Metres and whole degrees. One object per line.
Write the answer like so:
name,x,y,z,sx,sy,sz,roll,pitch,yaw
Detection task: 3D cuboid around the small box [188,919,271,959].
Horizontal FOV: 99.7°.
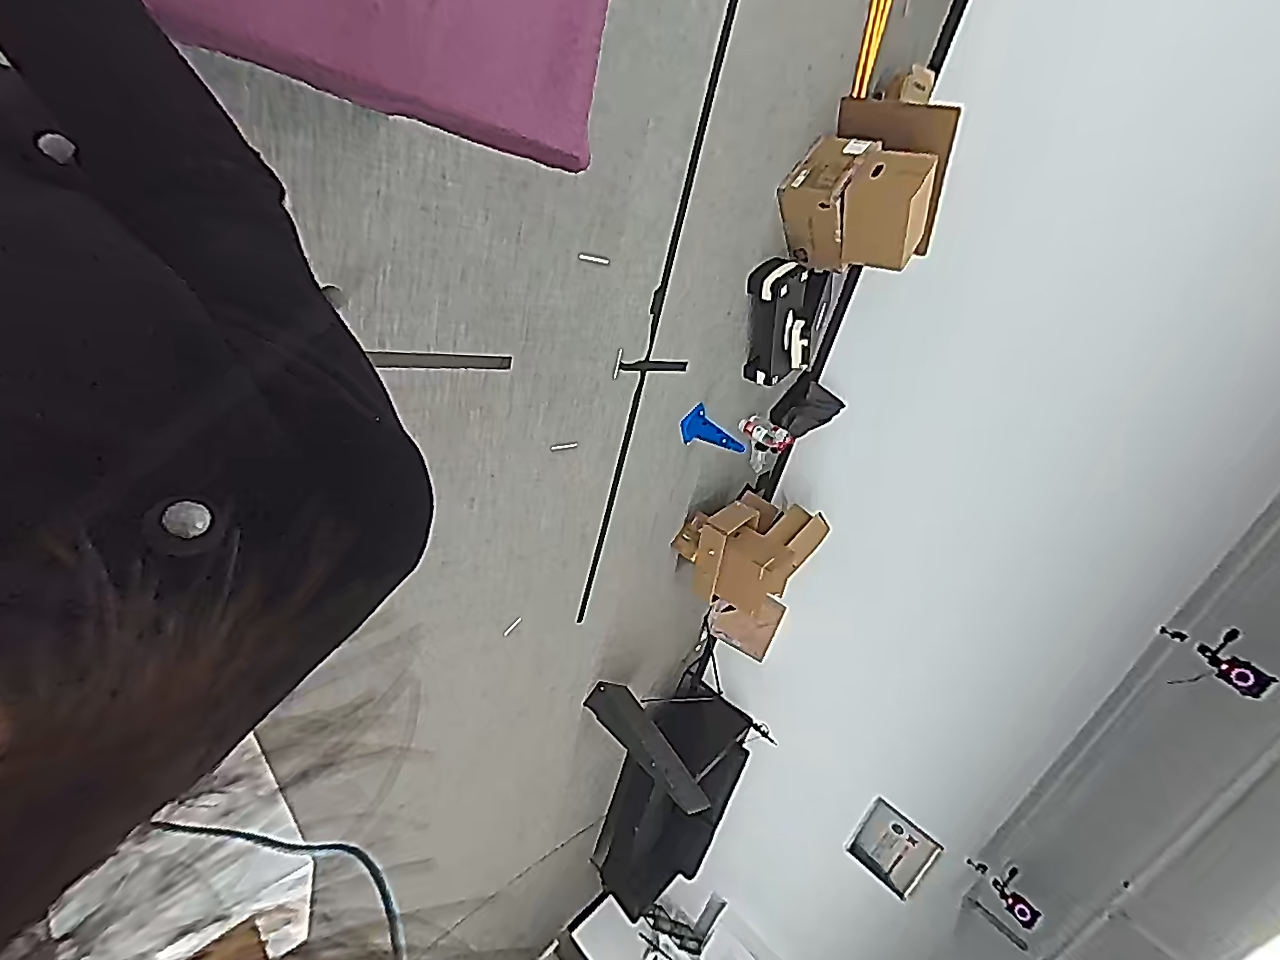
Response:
small box,-1.077,1.318,1.418,0.179,0.176,0.168,-18,130,-44
